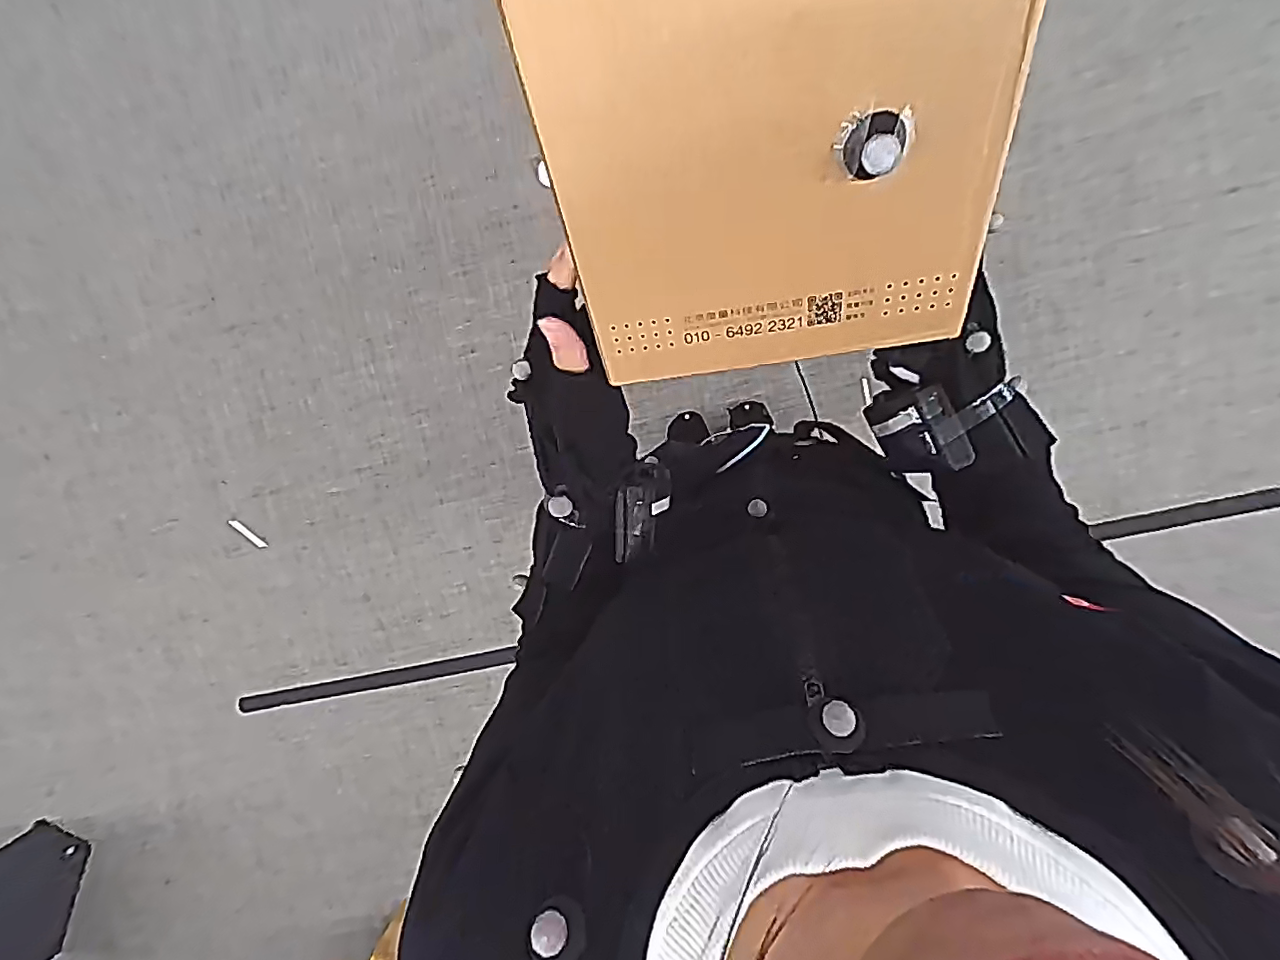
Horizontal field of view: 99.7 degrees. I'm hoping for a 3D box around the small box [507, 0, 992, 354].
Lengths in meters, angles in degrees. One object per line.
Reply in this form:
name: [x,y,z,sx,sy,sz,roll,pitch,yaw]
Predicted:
small box: [0.055,-0.179,0.277,0.168,0.179,0.176,-5,136,10]
